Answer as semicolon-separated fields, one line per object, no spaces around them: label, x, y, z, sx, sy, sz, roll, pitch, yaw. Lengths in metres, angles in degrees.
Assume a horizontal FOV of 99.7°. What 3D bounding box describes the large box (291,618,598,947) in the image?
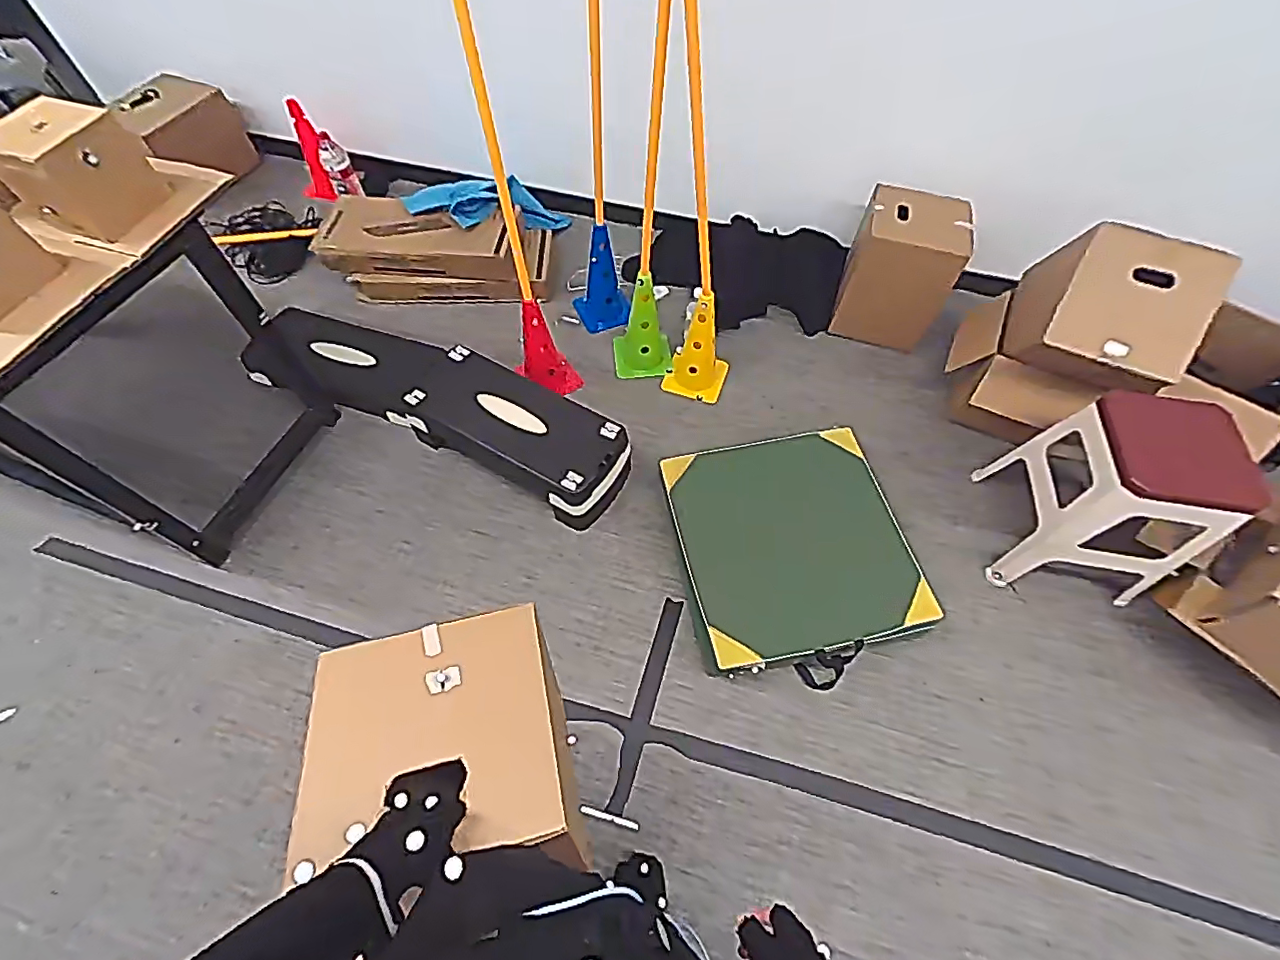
large box;-0.263;0.474;0.842;0.320;0.408;0.320;-11;48;-9
